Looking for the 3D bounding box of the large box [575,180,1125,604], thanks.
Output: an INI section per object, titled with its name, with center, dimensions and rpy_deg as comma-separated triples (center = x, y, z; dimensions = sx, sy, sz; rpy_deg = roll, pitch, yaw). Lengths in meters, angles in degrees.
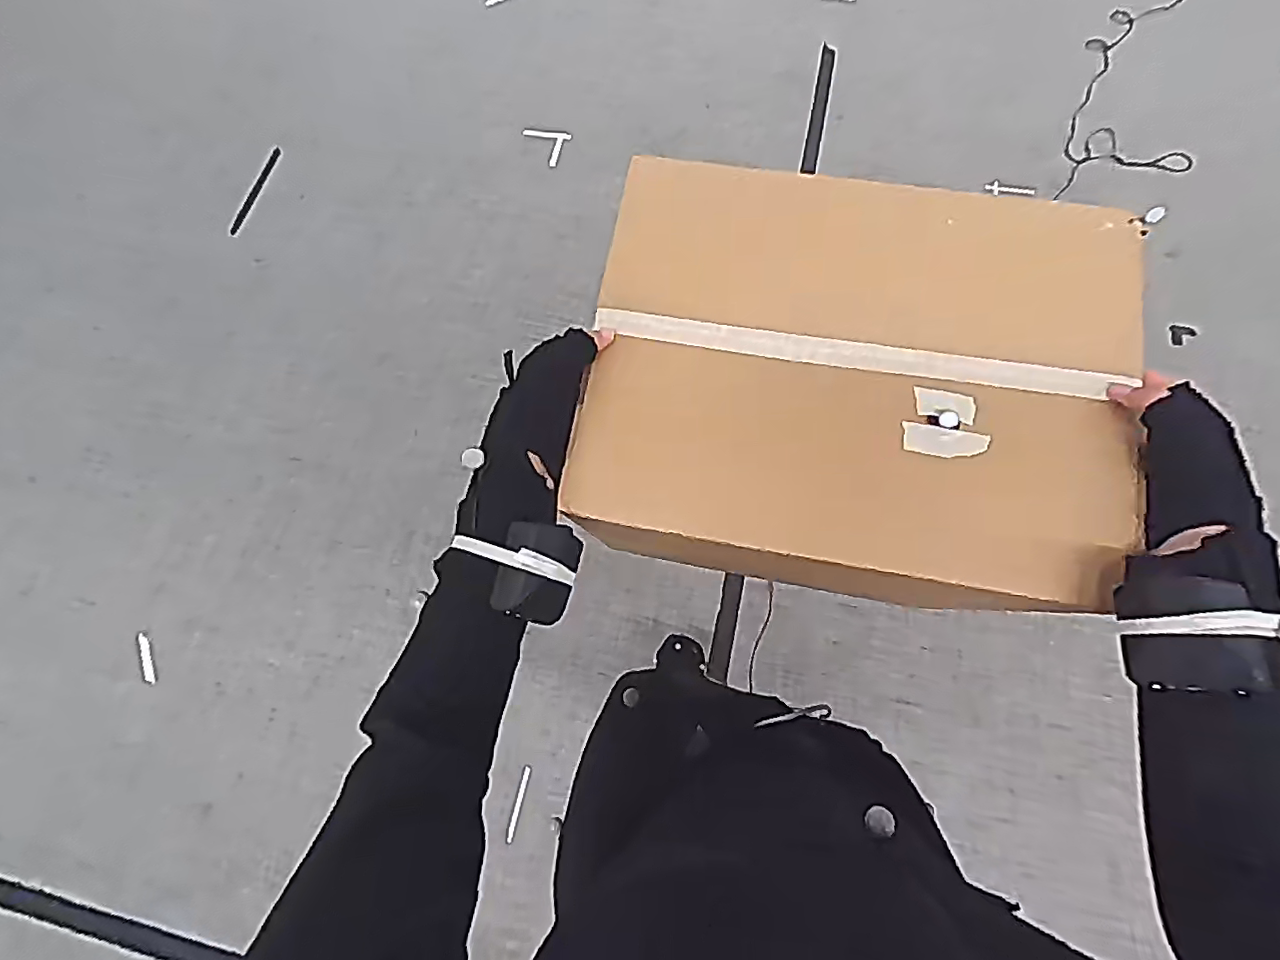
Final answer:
[large box]
center = 0.174, -0.056, 0.569
dimensions = 0.408, 0.320, 0.320
rpy_deg = 9, 79, 5
